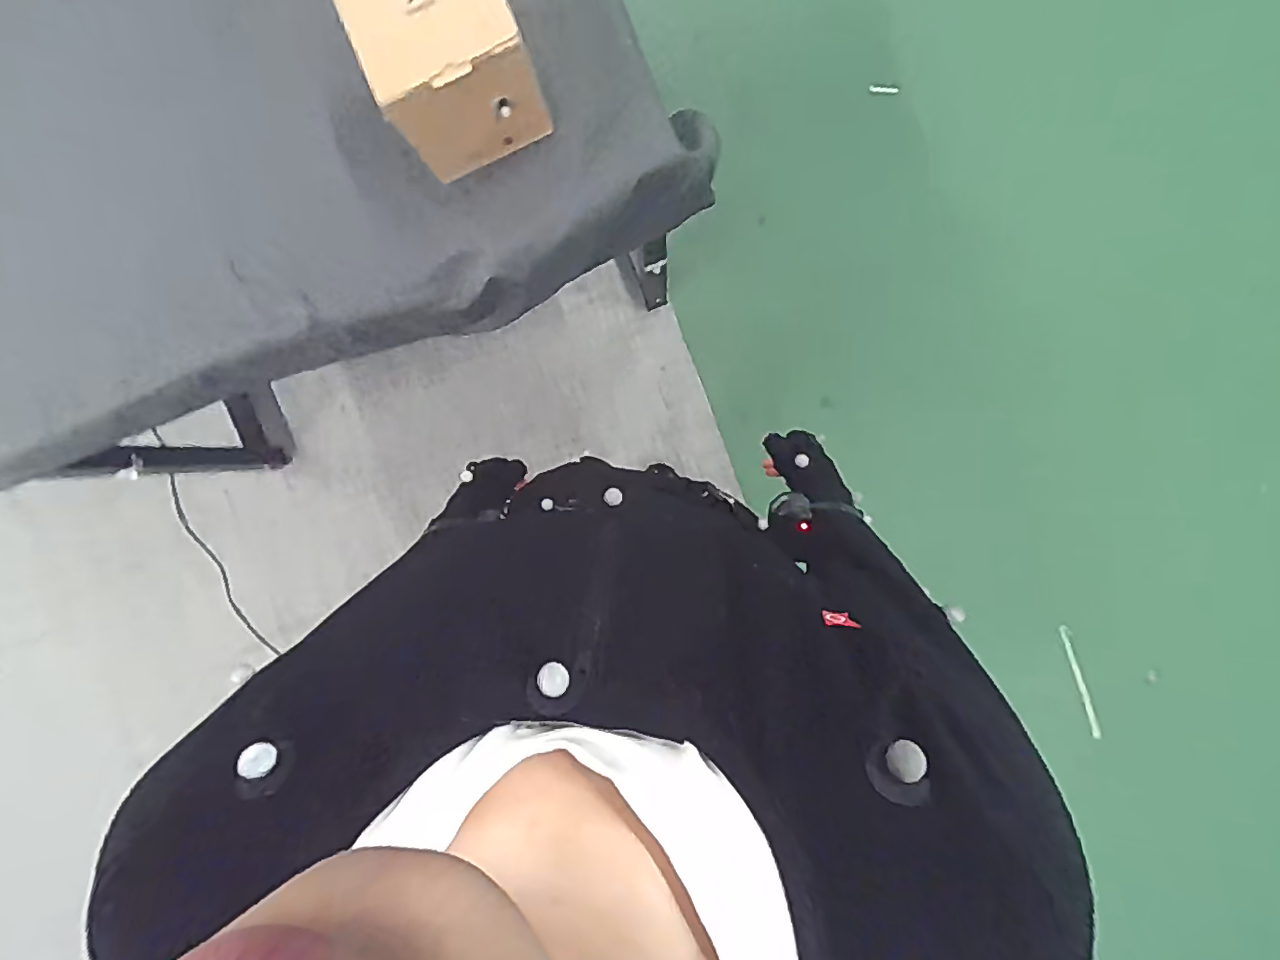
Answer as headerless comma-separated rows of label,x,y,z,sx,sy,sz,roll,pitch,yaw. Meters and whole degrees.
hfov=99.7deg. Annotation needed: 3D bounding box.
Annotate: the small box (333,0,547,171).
small box,-0.228,-0.503,0.638,0.168,0.176,0.179,-24,90,3
